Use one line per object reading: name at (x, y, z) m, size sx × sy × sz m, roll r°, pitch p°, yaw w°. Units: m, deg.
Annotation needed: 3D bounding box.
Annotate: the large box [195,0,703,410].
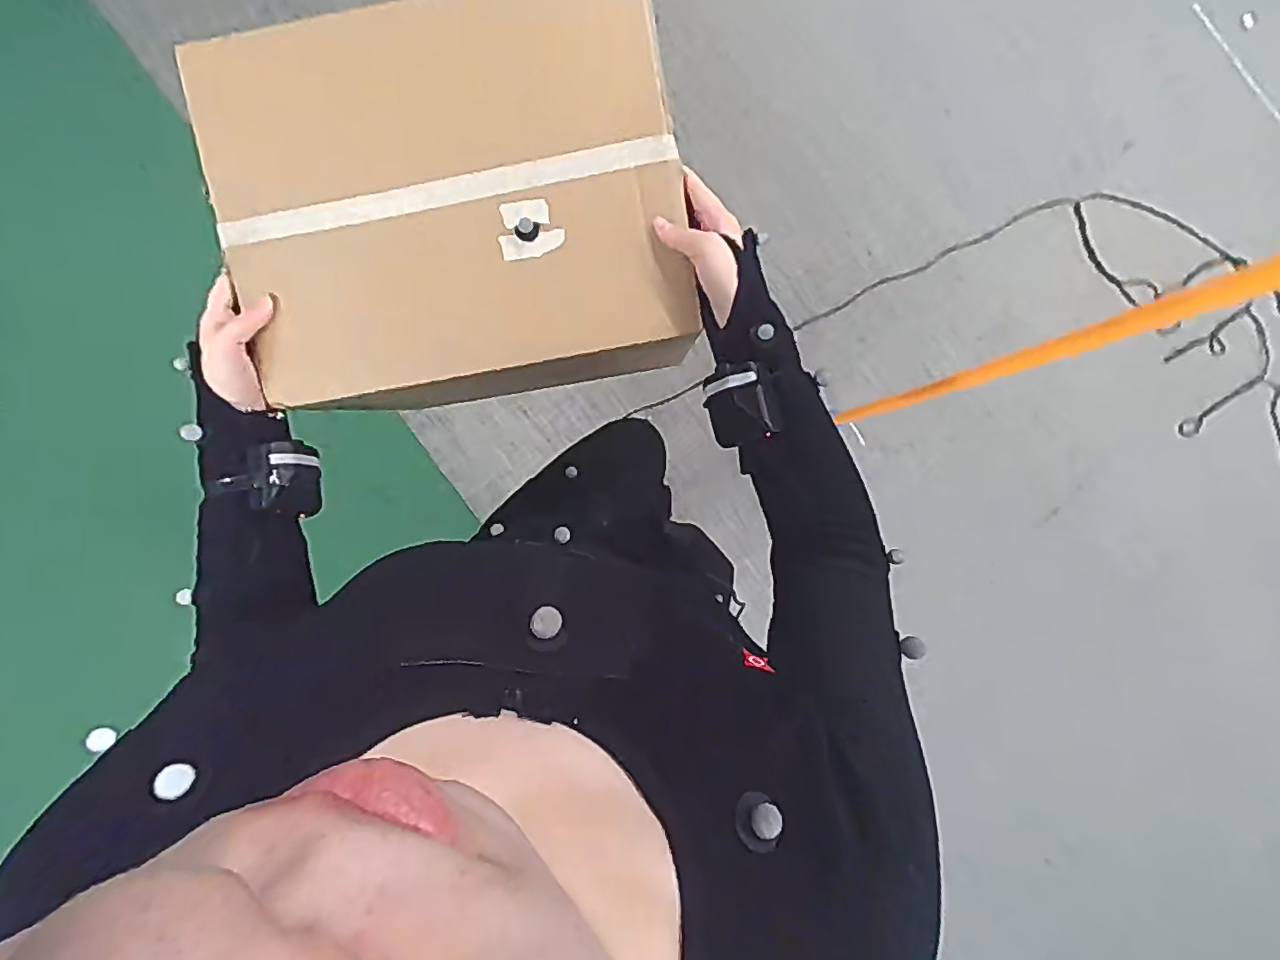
large box at (-0.167, -0.273, 0.627) m, size 0.408 × 0.320 × 0.320 m, roll -11°, pitch 97°, yaw 1°
